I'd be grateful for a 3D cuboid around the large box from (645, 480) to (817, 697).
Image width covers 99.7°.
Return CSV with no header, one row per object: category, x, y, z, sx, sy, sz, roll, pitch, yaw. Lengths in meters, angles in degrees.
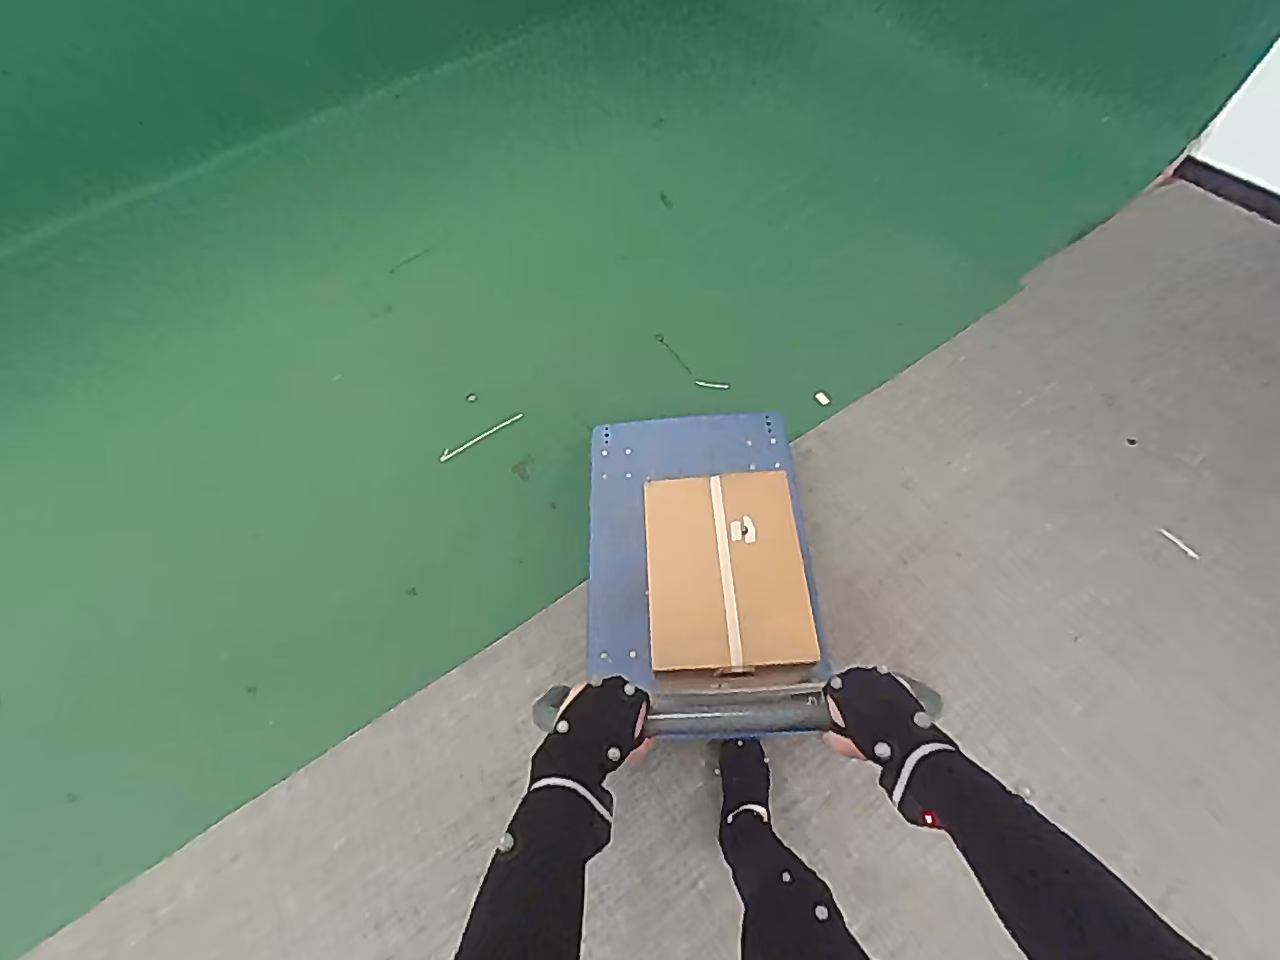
large box,0.187,0.257,1.241,0.320,0.320,0.408,-4,60,3
